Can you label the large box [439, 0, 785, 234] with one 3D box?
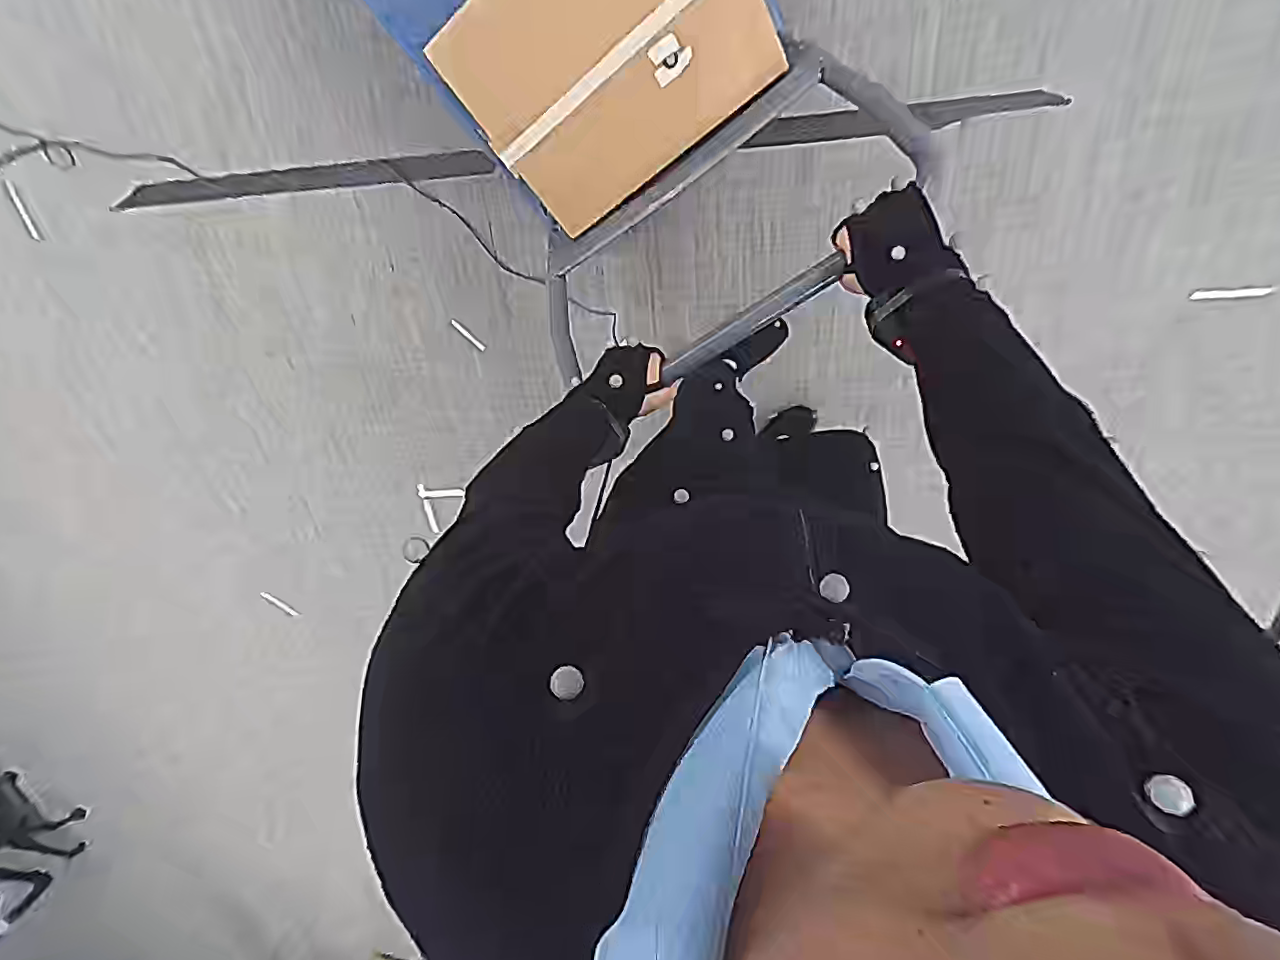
[{"bbox_3d":[-0.049,-0.694,0.868,0.408,0.320,0.320,-31,130,21],"label":"large box"}]
